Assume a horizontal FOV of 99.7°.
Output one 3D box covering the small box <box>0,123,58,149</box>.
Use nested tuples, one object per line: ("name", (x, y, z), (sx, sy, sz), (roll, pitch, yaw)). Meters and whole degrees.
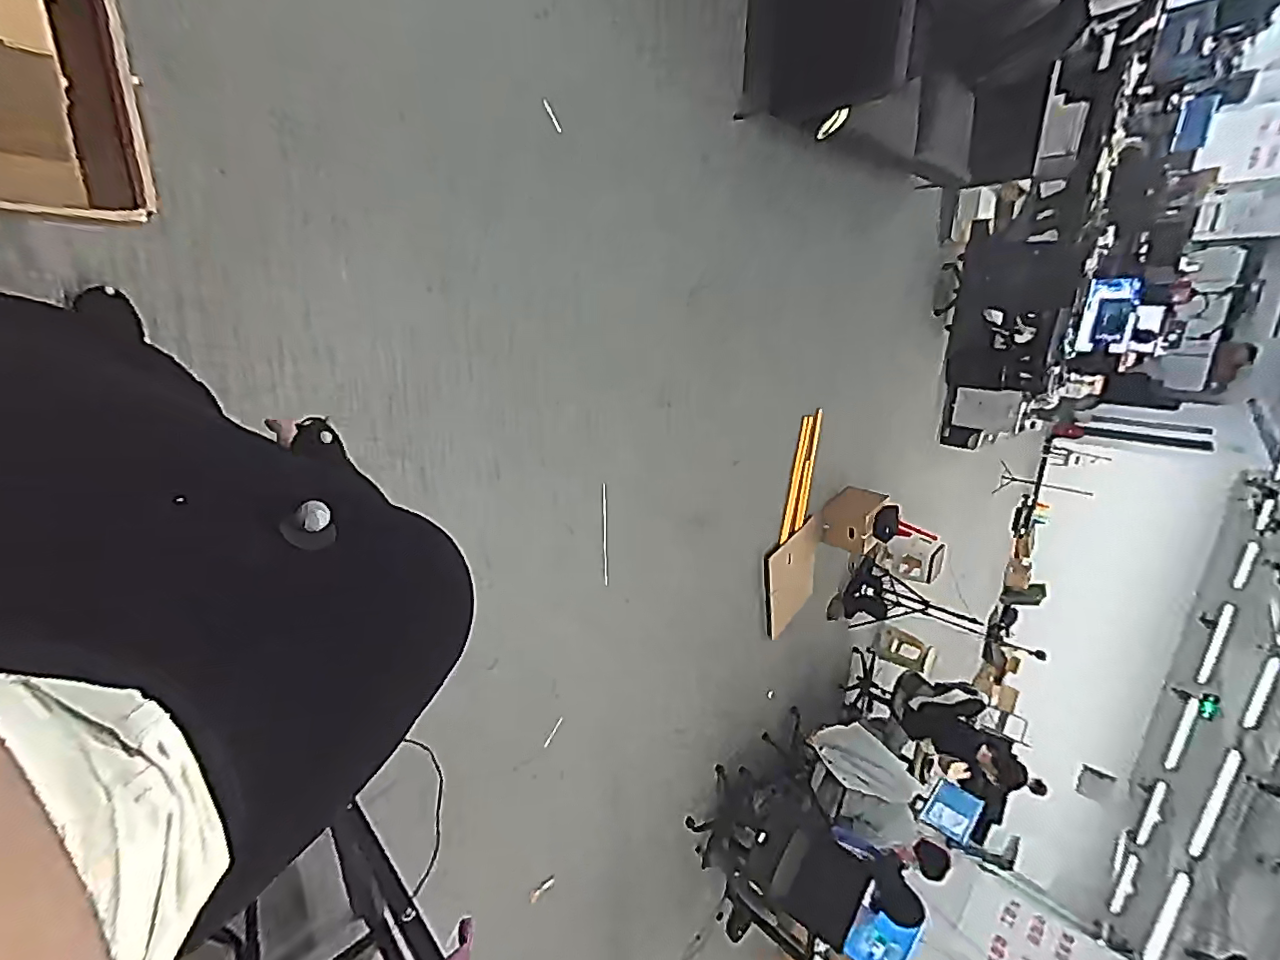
("small box", (-0.848, -0.528, 0.658), (0.168, 0.176, 0.179), (-15, 113, -43))

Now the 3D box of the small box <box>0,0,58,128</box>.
("small box", (-0.734, -0.490, 0.549), (0.168, 0.176, 0.179), (-16, 114, -43))
